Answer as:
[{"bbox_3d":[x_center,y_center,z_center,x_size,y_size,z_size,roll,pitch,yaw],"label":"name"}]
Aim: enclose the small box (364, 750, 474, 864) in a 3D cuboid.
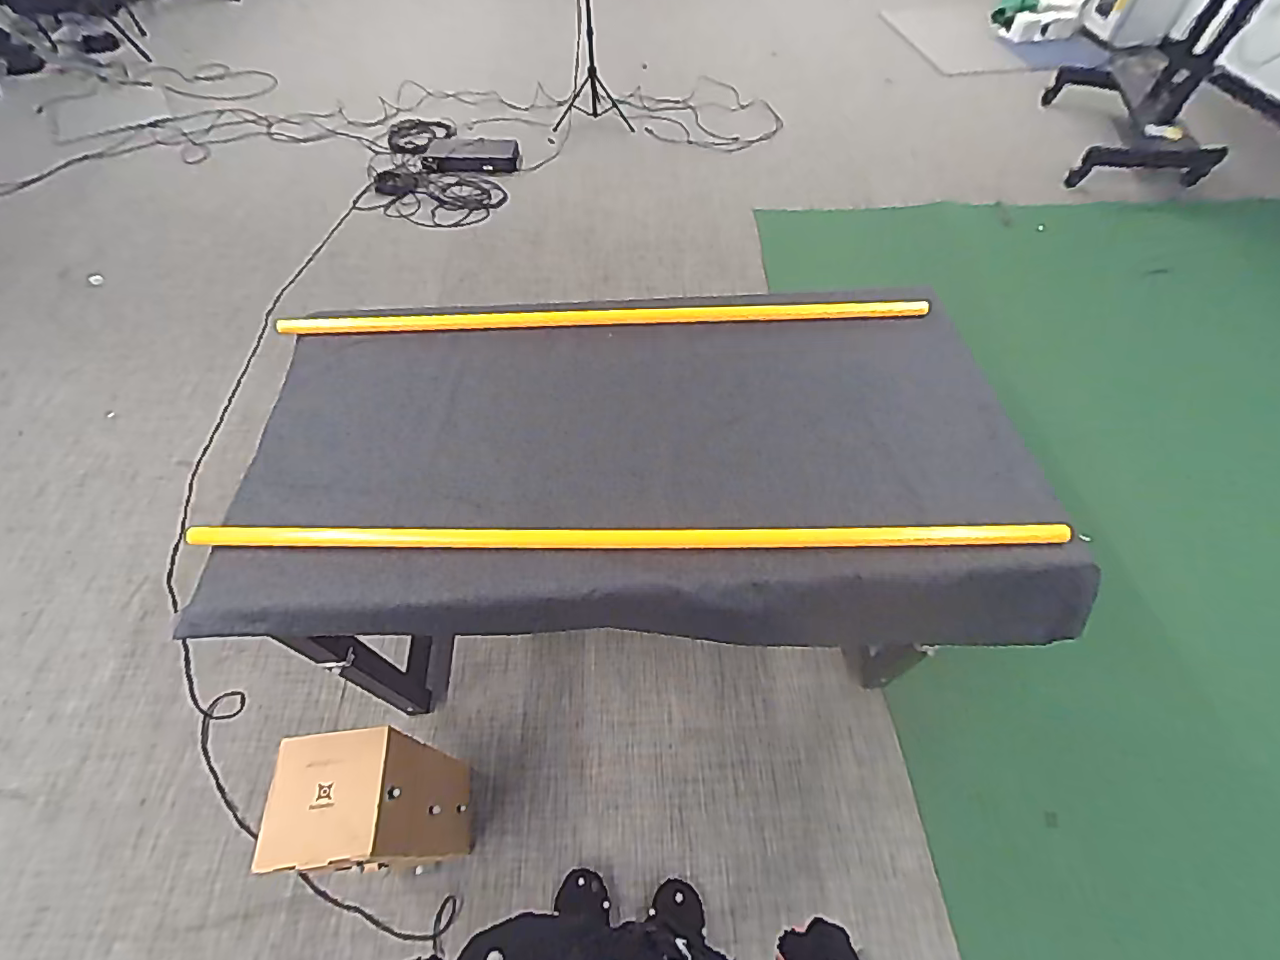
[{"bbox_3d":[-0.453,0.689,1.139,0.168,0.176,0.179,-9,57,-5],"label":"small box"}]
